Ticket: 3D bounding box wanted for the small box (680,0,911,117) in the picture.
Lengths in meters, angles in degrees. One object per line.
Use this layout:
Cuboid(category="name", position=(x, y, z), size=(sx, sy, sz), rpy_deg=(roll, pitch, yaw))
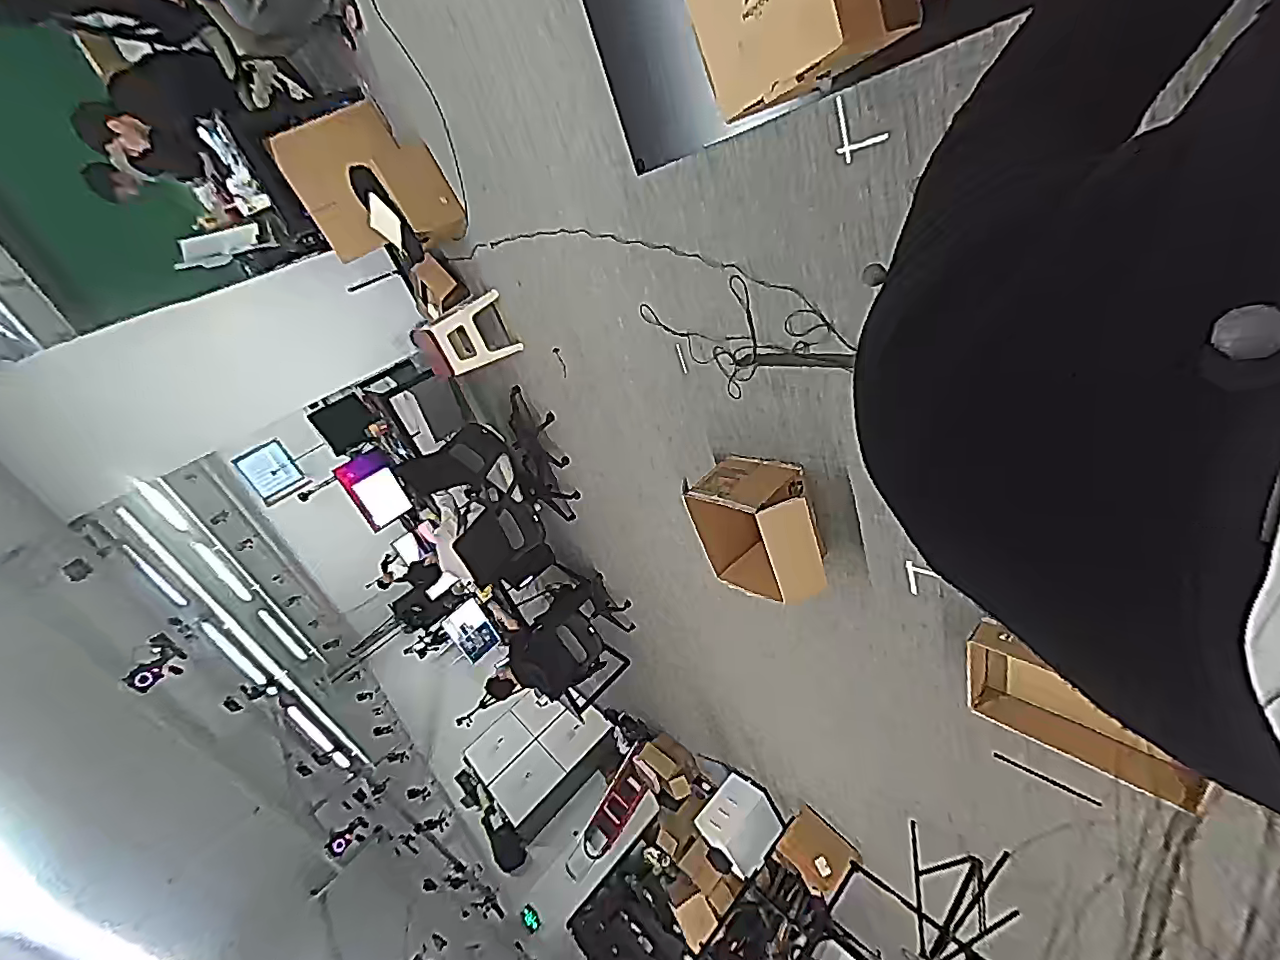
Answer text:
Cuboid(category="small box", position=(0.165, -0.542, 0.585), size=(0.168, 0.176, 0.179), rpy_deg=(7, 129, 54))
